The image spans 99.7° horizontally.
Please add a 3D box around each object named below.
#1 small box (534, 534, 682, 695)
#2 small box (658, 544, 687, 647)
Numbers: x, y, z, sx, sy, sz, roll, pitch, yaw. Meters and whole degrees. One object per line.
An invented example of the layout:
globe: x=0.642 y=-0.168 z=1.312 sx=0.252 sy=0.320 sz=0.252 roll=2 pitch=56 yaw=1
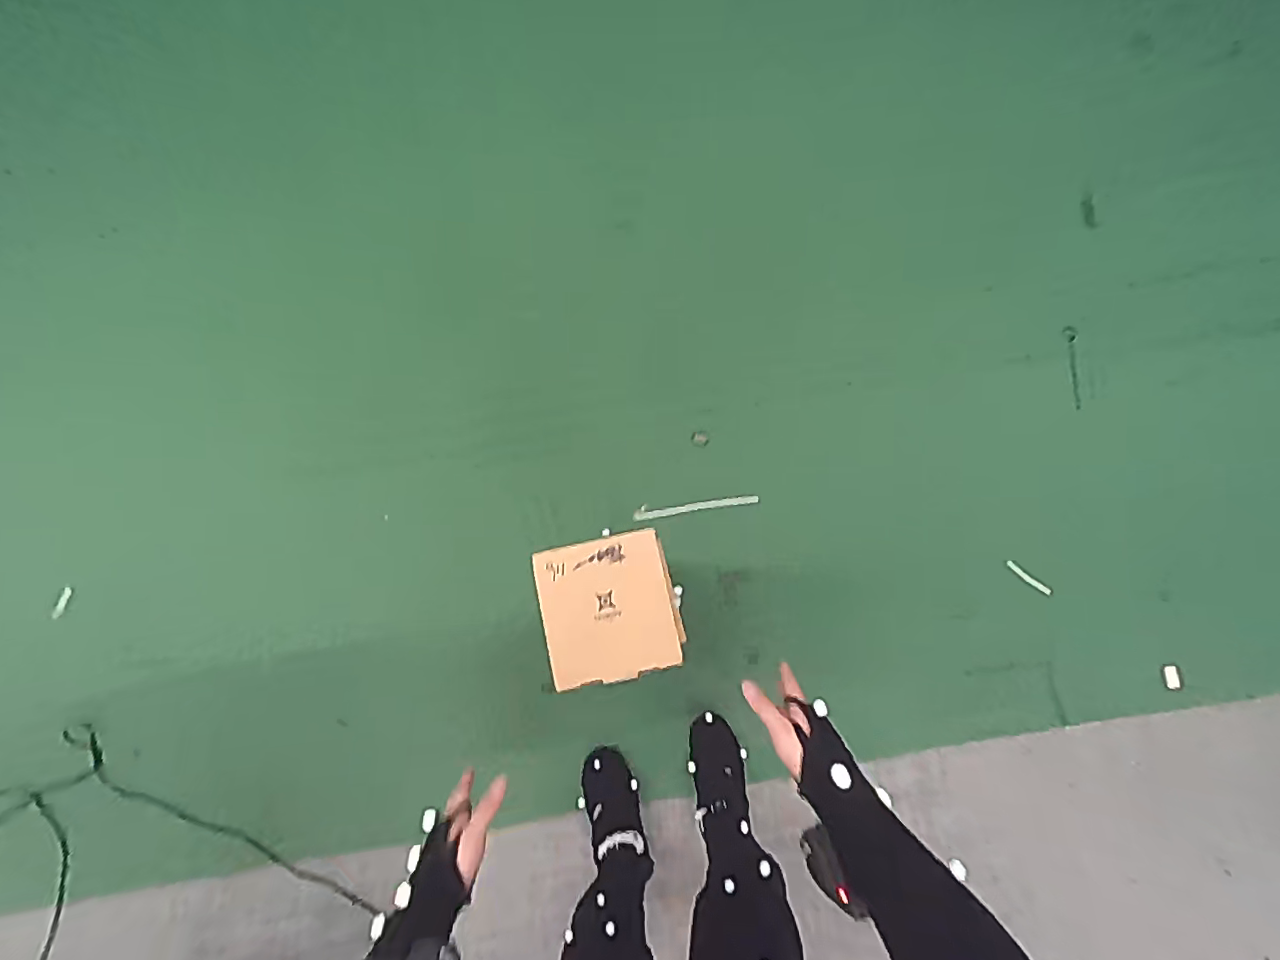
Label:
small box: x=-0.038 y=0.182 z=0.766 sx=0.168 sy=0.176 sz=0.179 roll=-13 pitch=79 yaw=0
small box: x=-0.025 y=0.215 z=0.927 sx=0.179 sy=0.176 sz=0.168 roll=-14 pitch=78 yaw=-1
